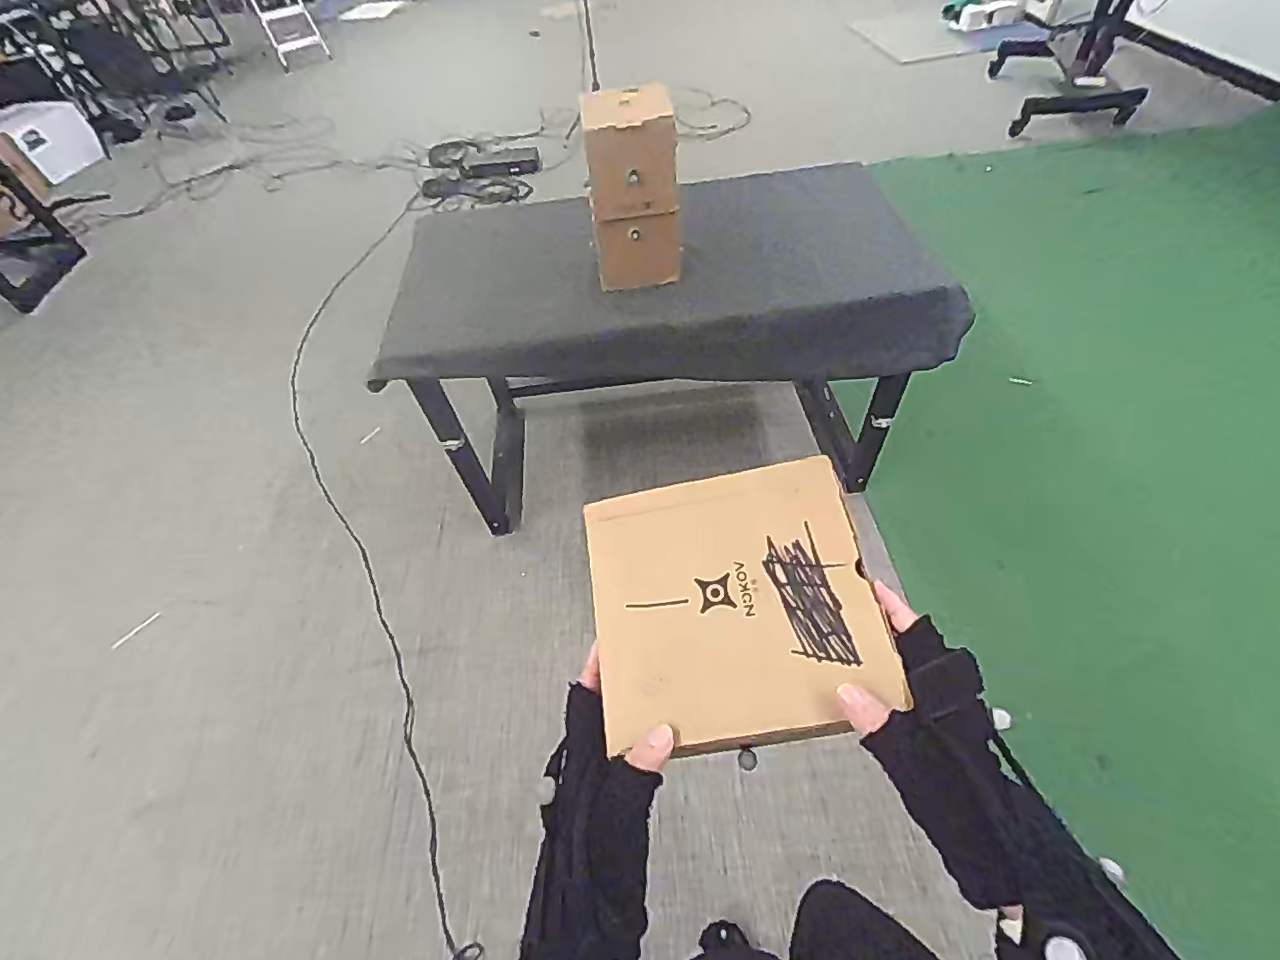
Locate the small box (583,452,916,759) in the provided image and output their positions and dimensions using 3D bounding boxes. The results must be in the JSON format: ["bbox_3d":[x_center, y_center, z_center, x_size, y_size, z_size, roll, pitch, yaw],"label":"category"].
[{"bbox_3d":[0.067,0.104,0.410,0.179,0.176,0.168,-13,62,2],"label":"small box"}]

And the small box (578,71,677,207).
[{"bbox_3d":[-0.022,-0.645,1.038,0.168,0.176,0.179,-8,54,0],"label":"small box"}]

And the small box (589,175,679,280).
[{"bbox_3d":[-0.011,-0.553,1.172,0.179,0.176,0.168,-6,54,-1],"label":"small box"}]
